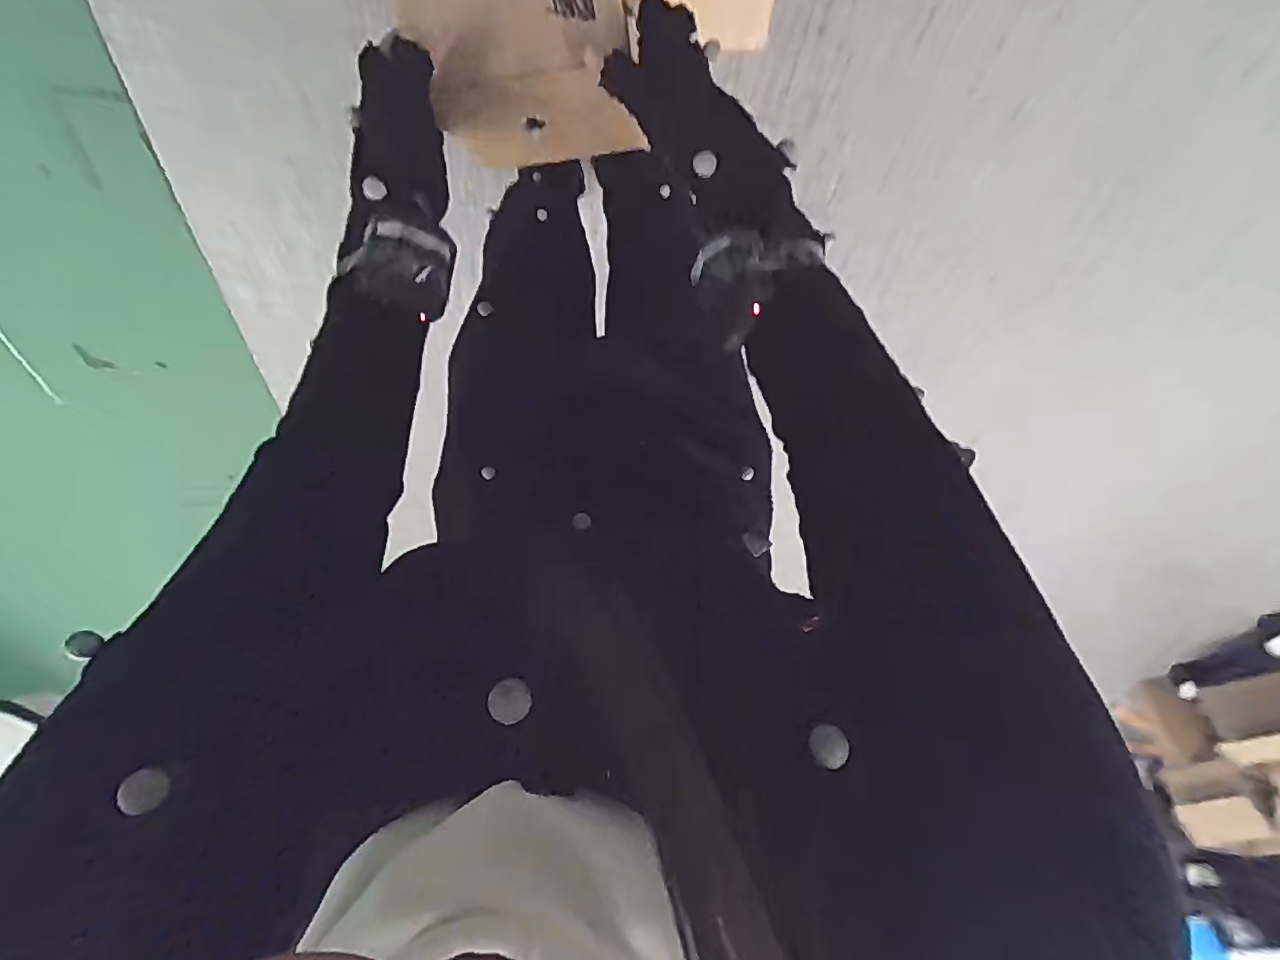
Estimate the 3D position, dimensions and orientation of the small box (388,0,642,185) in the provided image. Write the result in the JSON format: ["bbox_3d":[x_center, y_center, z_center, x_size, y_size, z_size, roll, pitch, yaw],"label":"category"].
[{"bbox_3d":[-0.096,-0.383,0.469,0.179,0.176,0.168,-9,100,7],"label":"small box"}]
